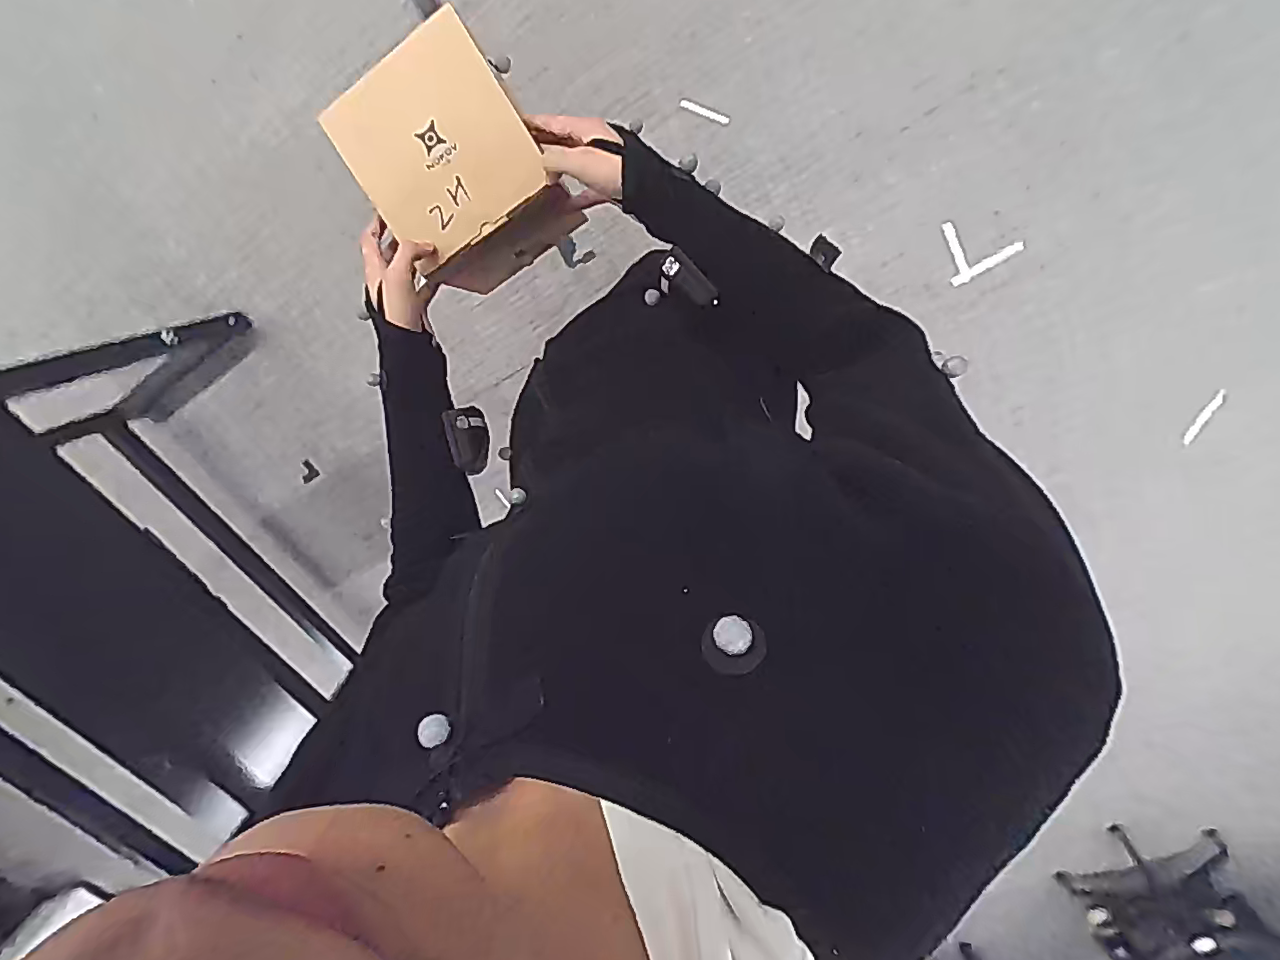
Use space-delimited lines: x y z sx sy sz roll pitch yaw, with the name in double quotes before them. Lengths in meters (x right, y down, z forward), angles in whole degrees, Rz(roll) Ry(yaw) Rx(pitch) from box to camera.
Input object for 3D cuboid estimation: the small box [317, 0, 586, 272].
"small box" -0.179 -0.346 0.569 0.168 0.176 0.179 -29 99 11
